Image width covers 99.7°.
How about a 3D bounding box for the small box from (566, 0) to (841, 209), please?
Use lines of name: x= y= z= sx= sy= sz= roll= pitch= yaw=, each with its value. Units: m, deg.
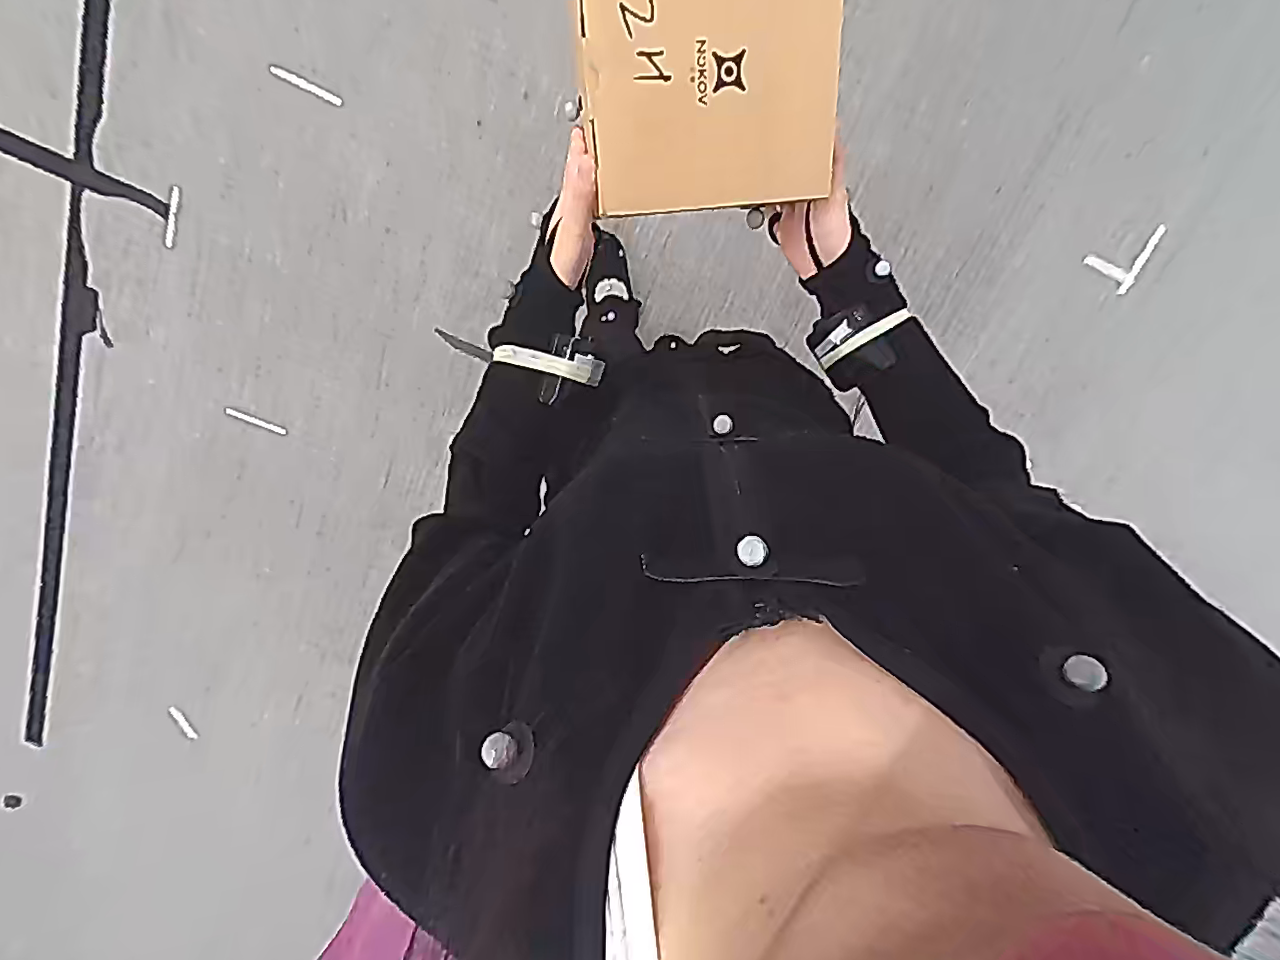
small box: x=0.038 y=-0.314 z=0.431 sx=0.179 sy=0.176 sz=0.168 roll=-7 pitch=116 yaw=-5
